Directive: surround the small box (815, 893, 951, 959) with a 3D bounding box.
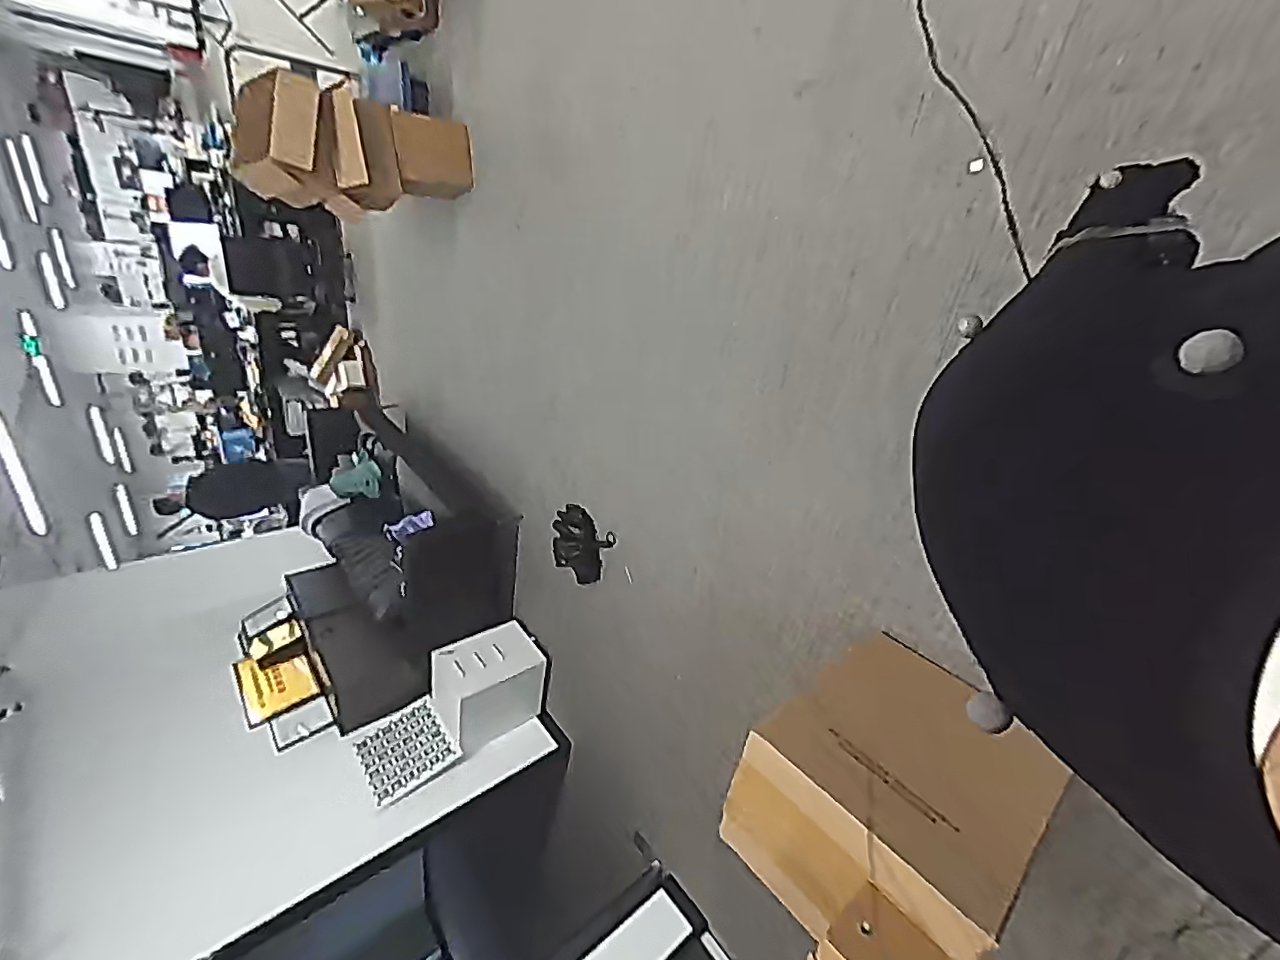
[{"bbox_3d":[0.433,0.907,0.986,0.179,0.176,0.168,30,119,41],"label":"small box"}]
